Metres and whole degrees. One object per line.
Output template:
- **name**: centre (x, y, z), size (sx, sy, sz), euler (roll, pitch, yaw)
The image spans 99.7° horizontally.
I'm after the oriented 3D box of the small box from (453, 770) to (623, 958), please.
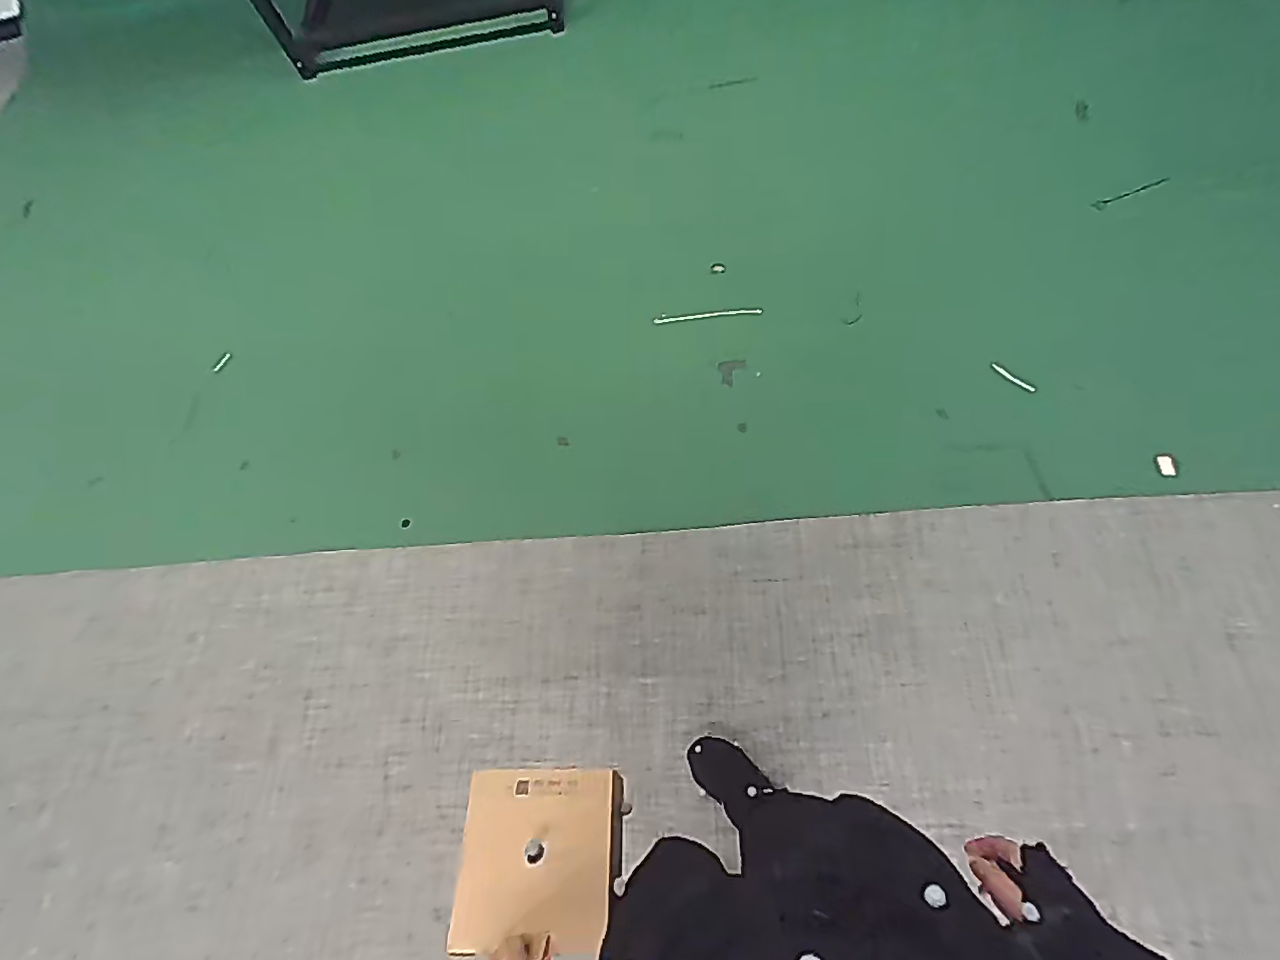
- **small box**: centre (-0.107, 0.452, 0.654), size (0.168, 0.179, 0.176), euler (0, 58, 2)
